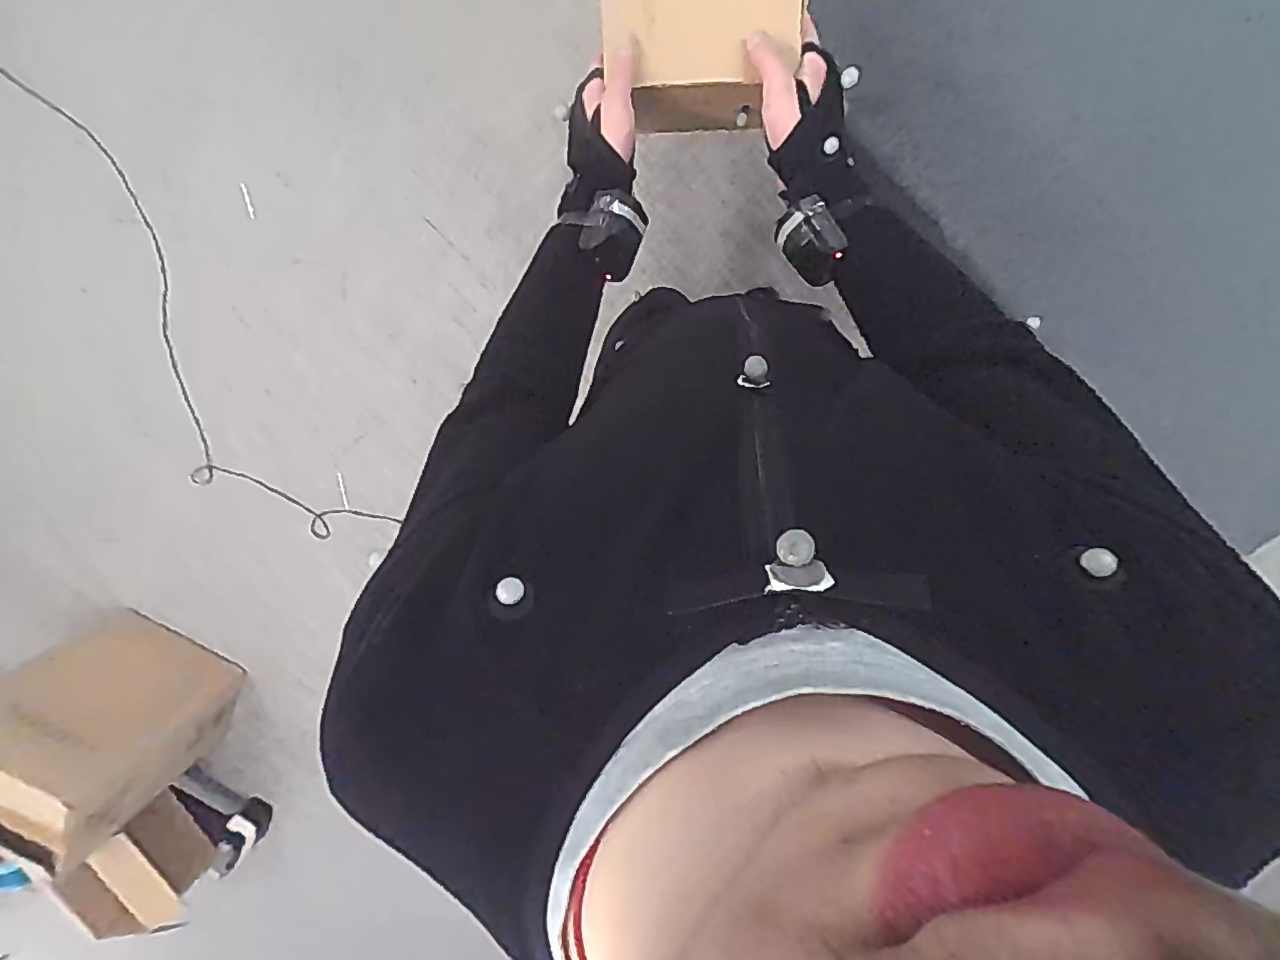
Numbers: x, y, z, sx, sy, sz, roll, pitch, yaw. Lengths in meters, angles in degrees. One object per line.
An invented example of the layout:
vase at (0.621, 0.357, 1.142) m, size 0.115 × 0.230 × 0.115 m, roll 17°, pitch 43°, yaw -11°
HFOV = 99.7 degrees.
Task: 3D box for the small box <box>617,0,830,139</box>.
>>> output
small box at (0.072, -0.443, 0.513) m, size 0.179 × 0.176 × 0.168 m, roll -1°, pitch 107°, yaw 5°
